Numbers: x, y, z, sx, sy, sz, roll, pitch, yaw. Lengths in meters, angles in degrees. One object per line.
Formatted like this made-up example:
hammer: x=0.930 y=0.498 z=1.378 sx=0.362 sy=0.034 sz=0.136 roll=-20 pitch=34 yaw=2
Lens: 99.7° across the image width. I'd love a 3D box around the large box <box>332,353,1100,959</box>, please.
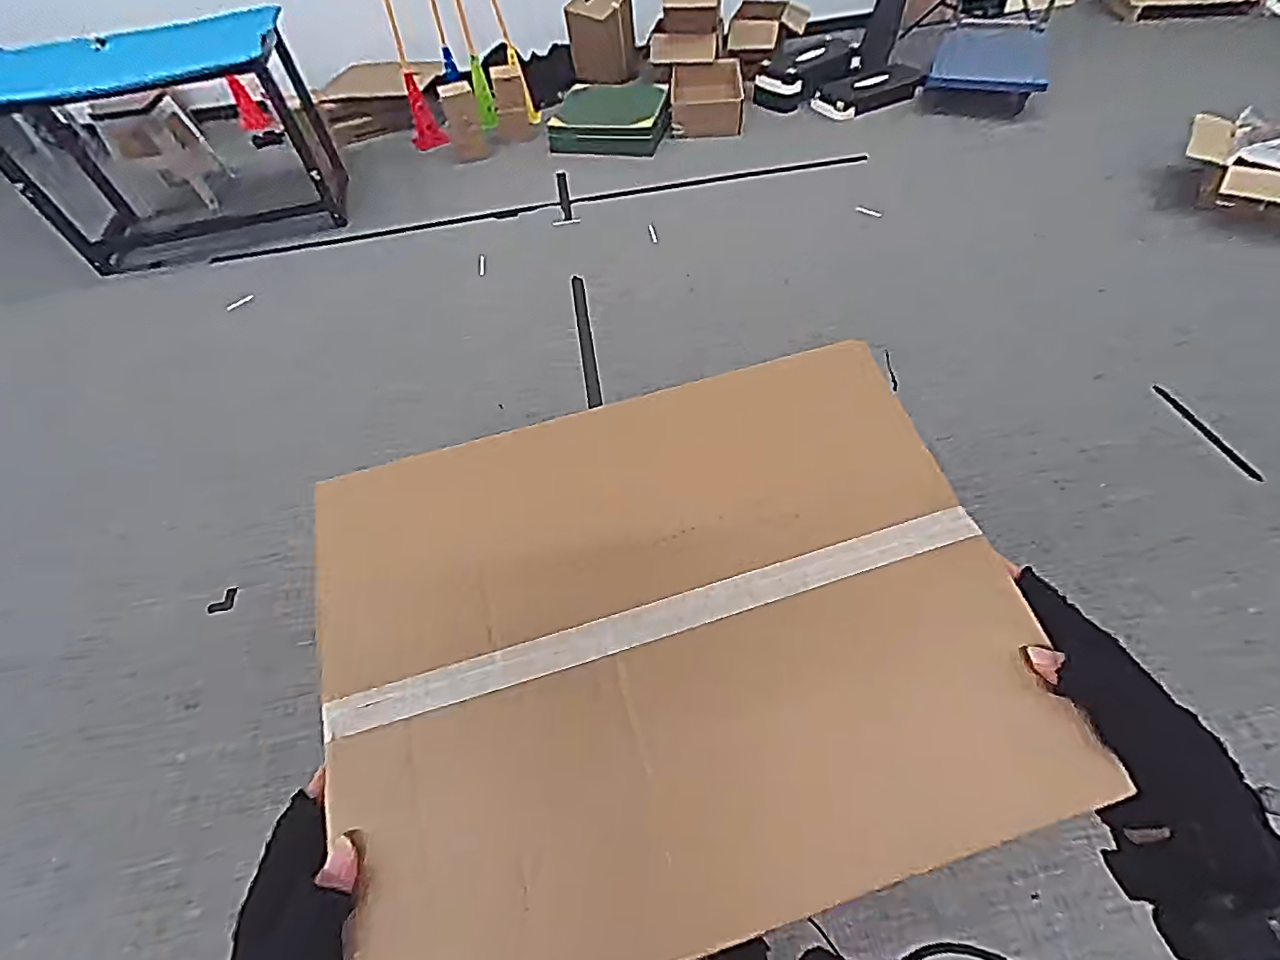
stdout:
large box: x=0.025 y=0.150 z=0.466 sx=0.408 sy=0.320 sz=0.320 roll=-16 pitch=65 yaw=-5
